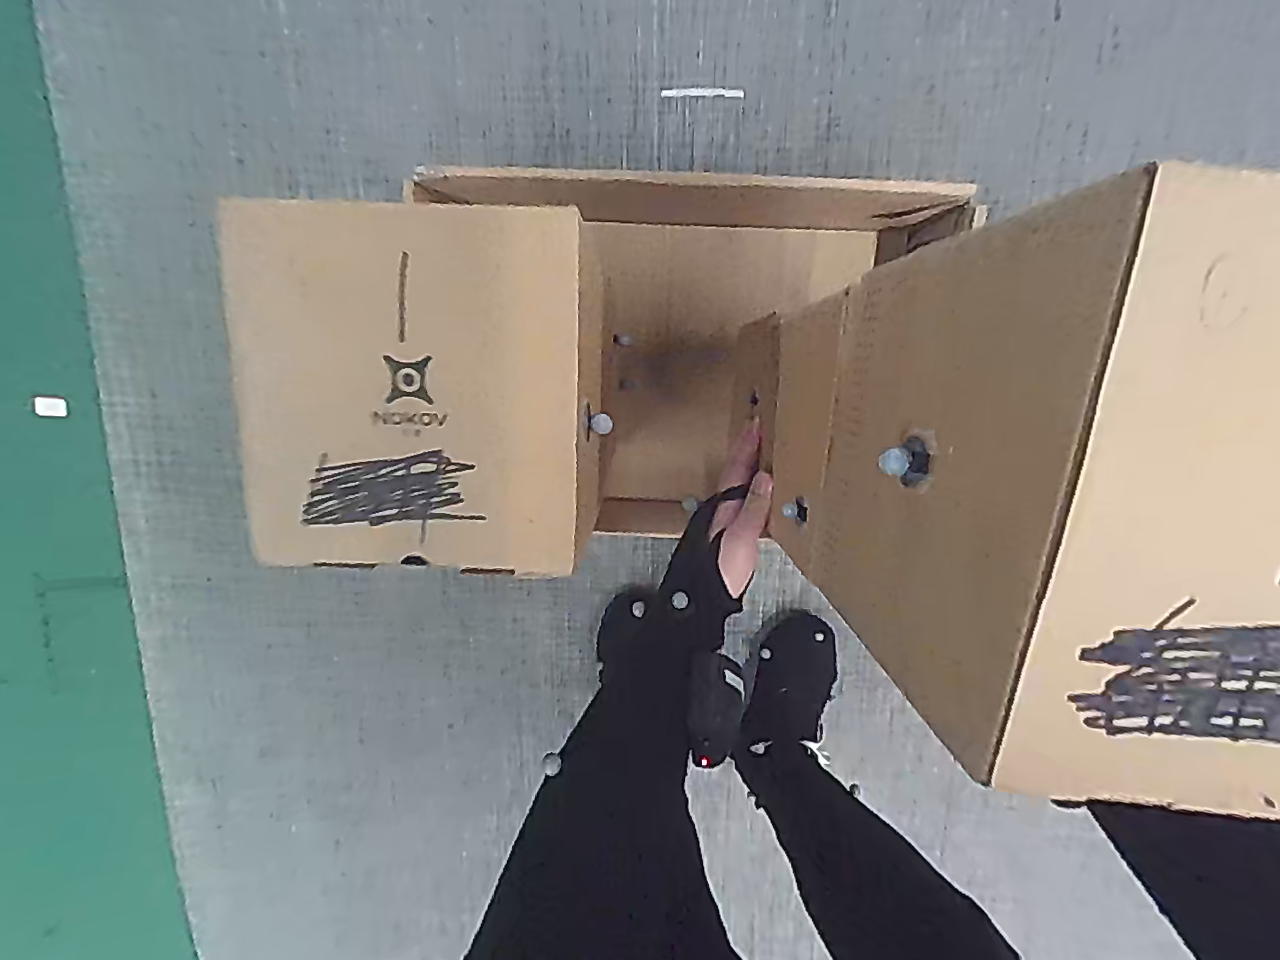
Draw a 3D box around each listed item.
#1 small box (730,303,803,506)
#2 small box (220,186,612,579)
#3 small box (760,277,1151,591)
[{"bbox_3d":[0.191,-0.071,0.544,0.168,0.176,0.179,4,102,-1],"label":"small box"},{"bbox_3d":[-0.105,-0.055,0.330,0.168,0.176,0.179,2,100,0],"label":"small box"},{"bbox_3d":[0.190,-0.037,0.386,0.168,0.176,0.179,2,103,-2],"label":"small box"}]
